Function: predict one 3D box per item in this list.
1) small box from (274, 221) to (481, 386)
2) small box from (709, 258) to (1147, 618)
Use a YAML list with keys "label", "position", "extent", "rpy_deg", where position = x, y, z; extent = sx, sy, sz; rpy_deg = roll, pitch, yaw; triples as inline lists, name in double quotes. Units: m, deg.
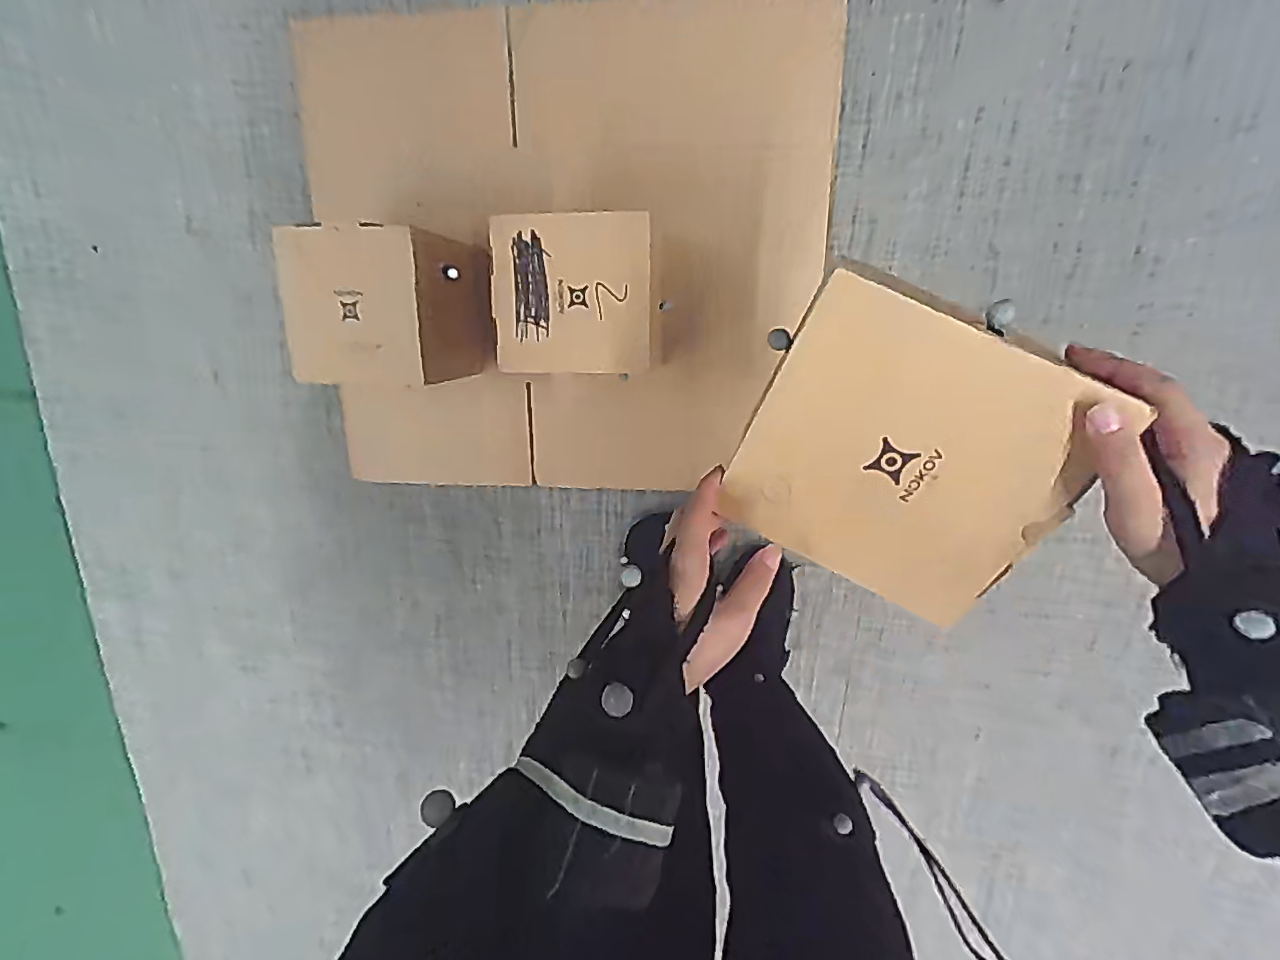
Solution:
- label: "small box"
  position: [-0.314, -0.217, 0.685]
  extent: [0.168, 0.176, 0.179]
  rpy_deg: [2, 106, 6]
- label: "small box"
  position: [0.174, -0.044, 0.386]
  extent: [0.179, 0.176, 0.168]
  rpy_deg: [27, 119, 6]
